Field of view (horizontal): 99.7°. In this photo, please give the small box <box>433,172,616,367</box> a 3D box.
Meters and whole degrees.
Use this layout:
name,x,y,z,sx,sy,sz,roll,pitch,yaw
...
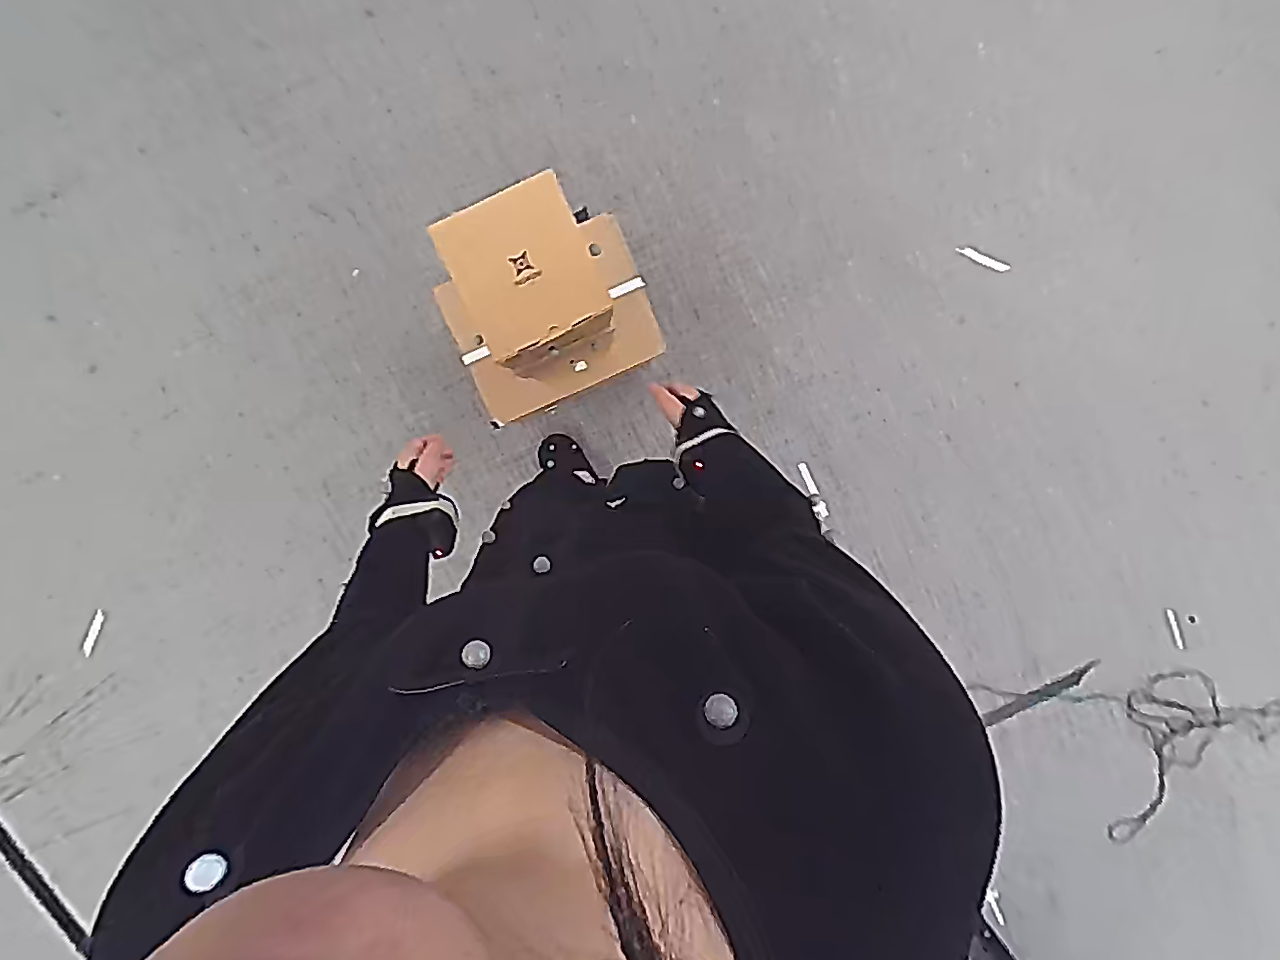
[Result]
name,x,y,z,sx,sy,sz,roll,pitch,yaw
small box,-0.147,-0.267,0.731,0.168,0.176,0.179,-27,101,-1

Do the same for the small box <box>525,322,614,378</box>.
name,x,y,z,sx,sy,sz,roll,pitch,yaw
small box,-0.165,-0.308,1.055,0.179,0.176,0.168,-27,101,-2
